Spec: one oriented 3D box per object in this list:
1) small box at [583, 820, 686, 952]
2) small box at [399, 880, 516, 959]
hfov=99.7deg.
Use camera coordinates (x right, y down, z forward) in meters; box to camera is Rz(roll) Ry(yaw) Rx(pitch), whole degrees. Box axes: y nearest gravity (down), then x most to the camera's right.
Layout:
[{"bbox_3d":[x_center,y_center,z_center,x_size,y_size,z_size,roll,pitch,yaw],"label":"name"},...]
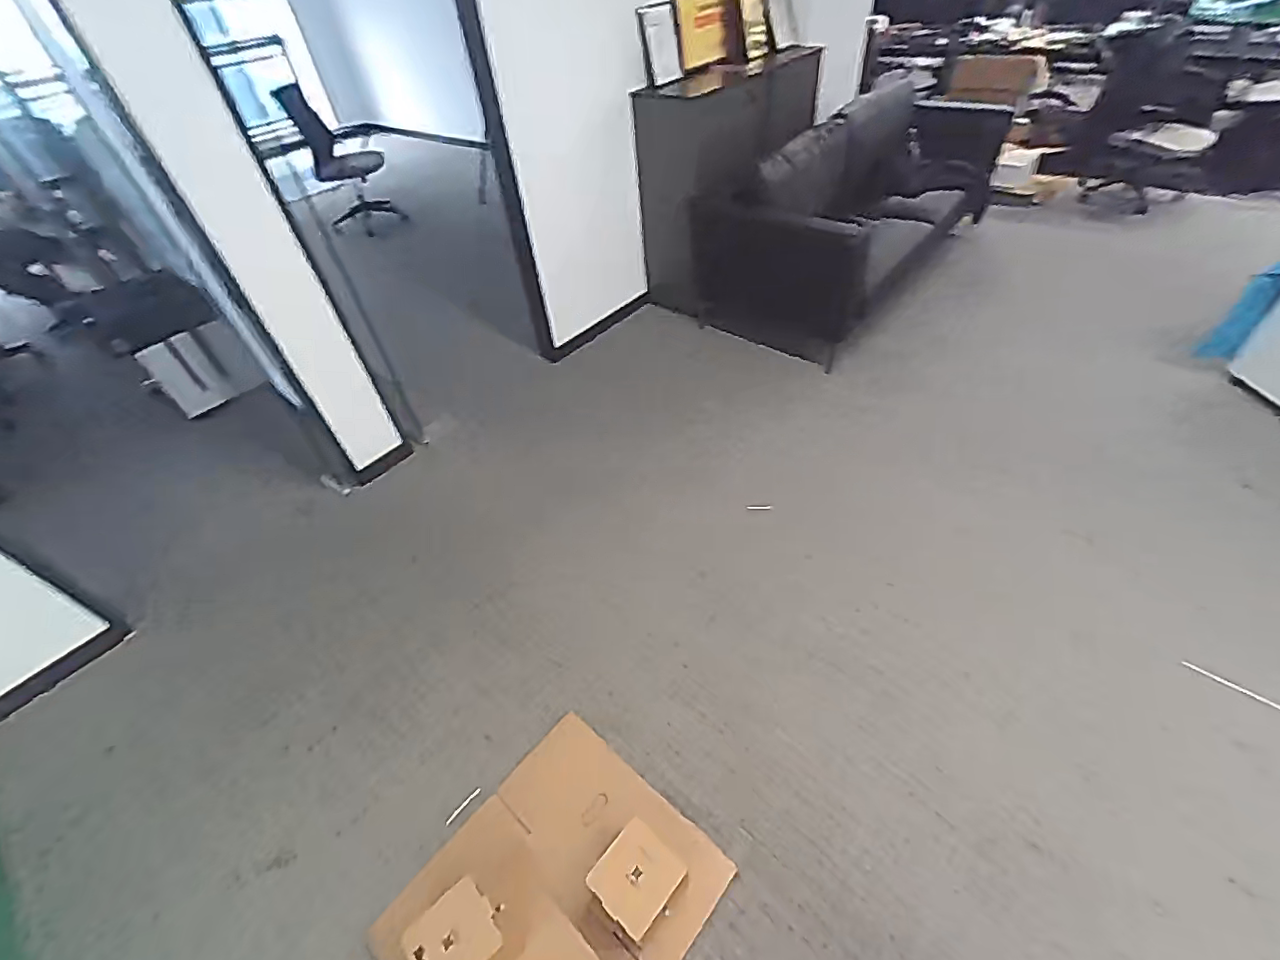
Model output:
[{"bbox_3d":[-0.004,0.943,1.253,0.168,0.176,0.179,31,56,31],"label":"small box"},{"bbox_3d":[-0.392,1.041,1.196,0.179,0.176,0.168,-33,50,-25],"label":"small box"}]
